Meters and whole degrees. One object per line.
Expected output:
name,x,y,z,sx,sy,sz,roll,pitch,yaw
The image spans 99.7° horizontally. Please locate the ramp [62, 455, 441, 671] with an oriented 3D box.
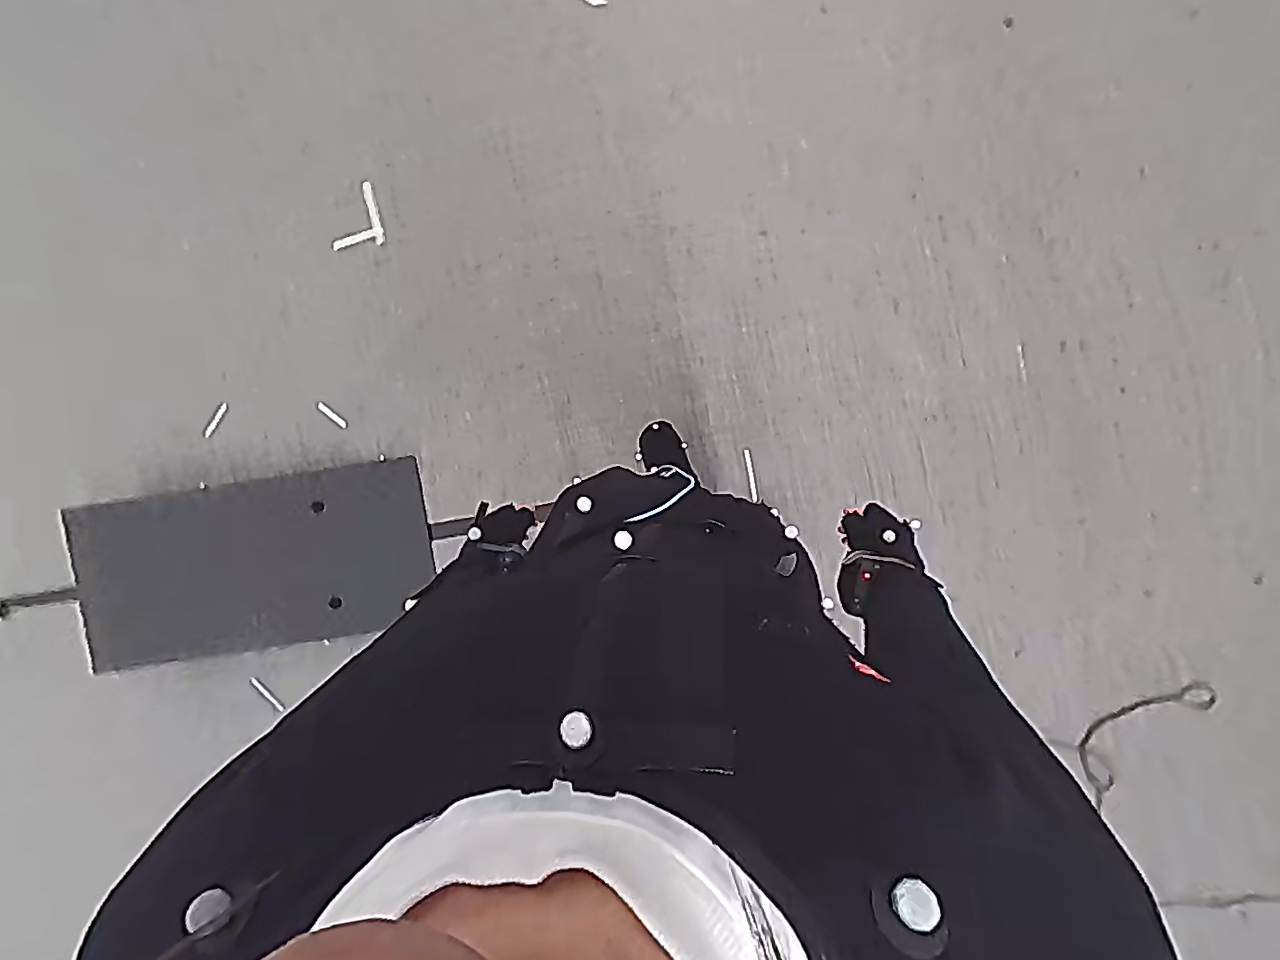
ramp,-1.107,0.235,1.556,0.991,0.206,0.509,-10,92,9
